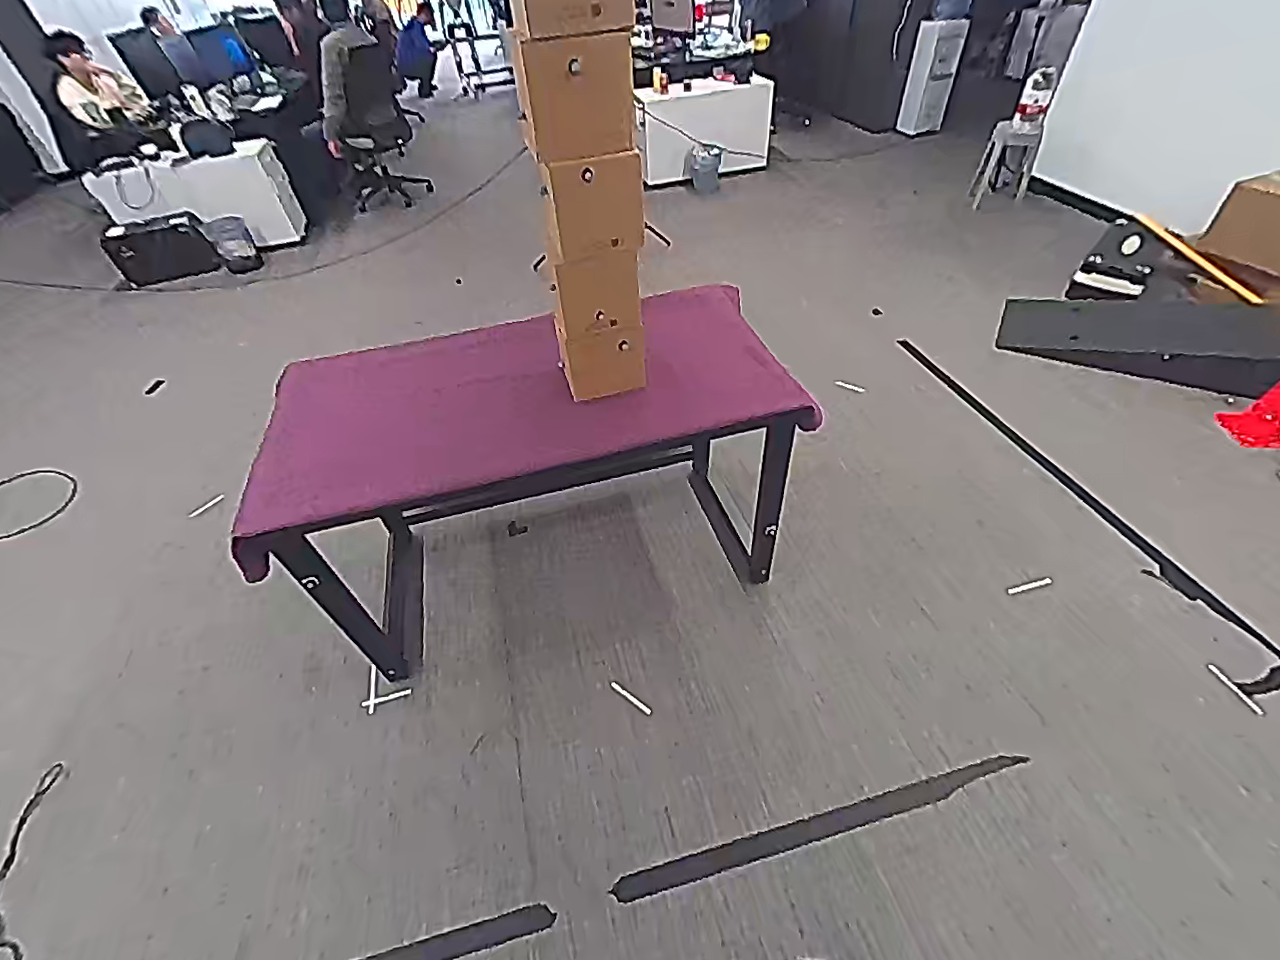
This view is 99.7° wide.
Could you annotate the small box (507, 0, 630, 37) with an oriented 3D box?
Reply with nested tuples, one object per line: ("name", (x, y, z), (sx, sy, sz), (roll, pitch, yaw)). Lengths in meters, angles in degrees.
("small box", (-0.118, -0.784, 0.814), (0.168, 0.176, 0.179), (-15, 46, -11))

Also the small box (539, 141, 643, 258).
("small box", (-0.096, -0.547, 1.036), (0.168, 0.176, 0.179), (-14, 46, -9))

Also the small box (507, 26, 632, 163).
("small box", (-0.116, -0.667, 0.926), (0.179, 0.176, 0.168), (-15, 47, -9))

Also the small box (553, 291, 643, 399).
("small box", (-0.094, -0.315, 1.267), (0.179, 0.176, 0.168), (-15, 46, -8))
